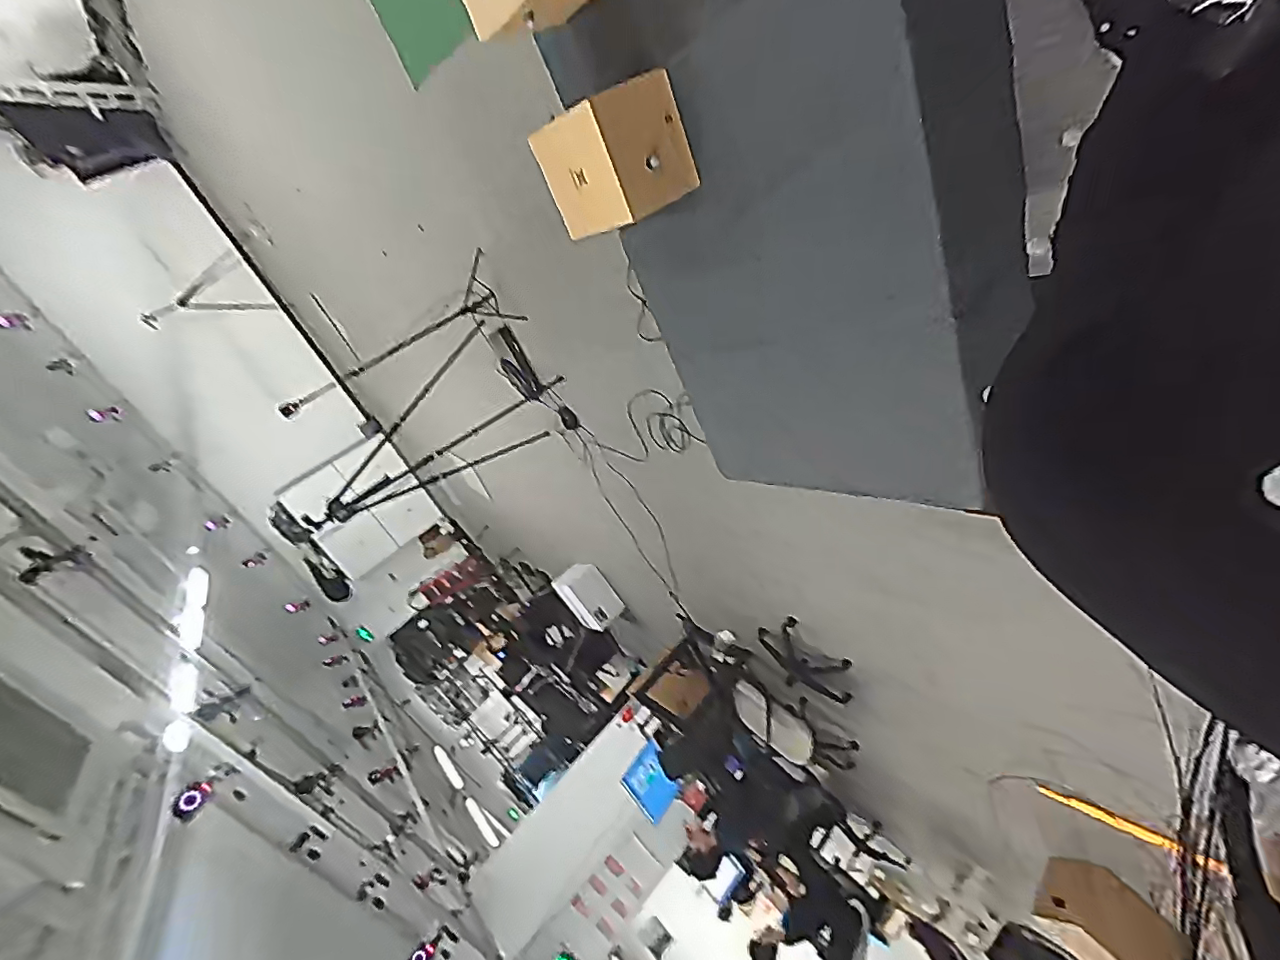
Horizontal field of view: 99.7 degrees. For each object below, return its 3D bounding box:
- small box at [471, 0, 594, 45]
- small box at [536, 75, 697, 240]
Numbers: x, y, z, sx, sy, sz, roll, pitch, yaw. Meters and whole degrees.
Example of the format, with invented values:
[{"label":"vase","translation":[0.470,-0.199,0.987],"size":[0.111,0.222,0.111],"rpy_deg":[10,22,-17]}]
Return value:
[{"label":"small box","translation":[-0.144,-0.745,0.740],"size":[0.179,0.176,0.168],"rpy_deg":[14,138,49]},{"label":"small box","translation":[-0.029,-0.516,0.876],"size":[0.179,0.176,0.168],"rpy_deg":[15,138,50]}]
